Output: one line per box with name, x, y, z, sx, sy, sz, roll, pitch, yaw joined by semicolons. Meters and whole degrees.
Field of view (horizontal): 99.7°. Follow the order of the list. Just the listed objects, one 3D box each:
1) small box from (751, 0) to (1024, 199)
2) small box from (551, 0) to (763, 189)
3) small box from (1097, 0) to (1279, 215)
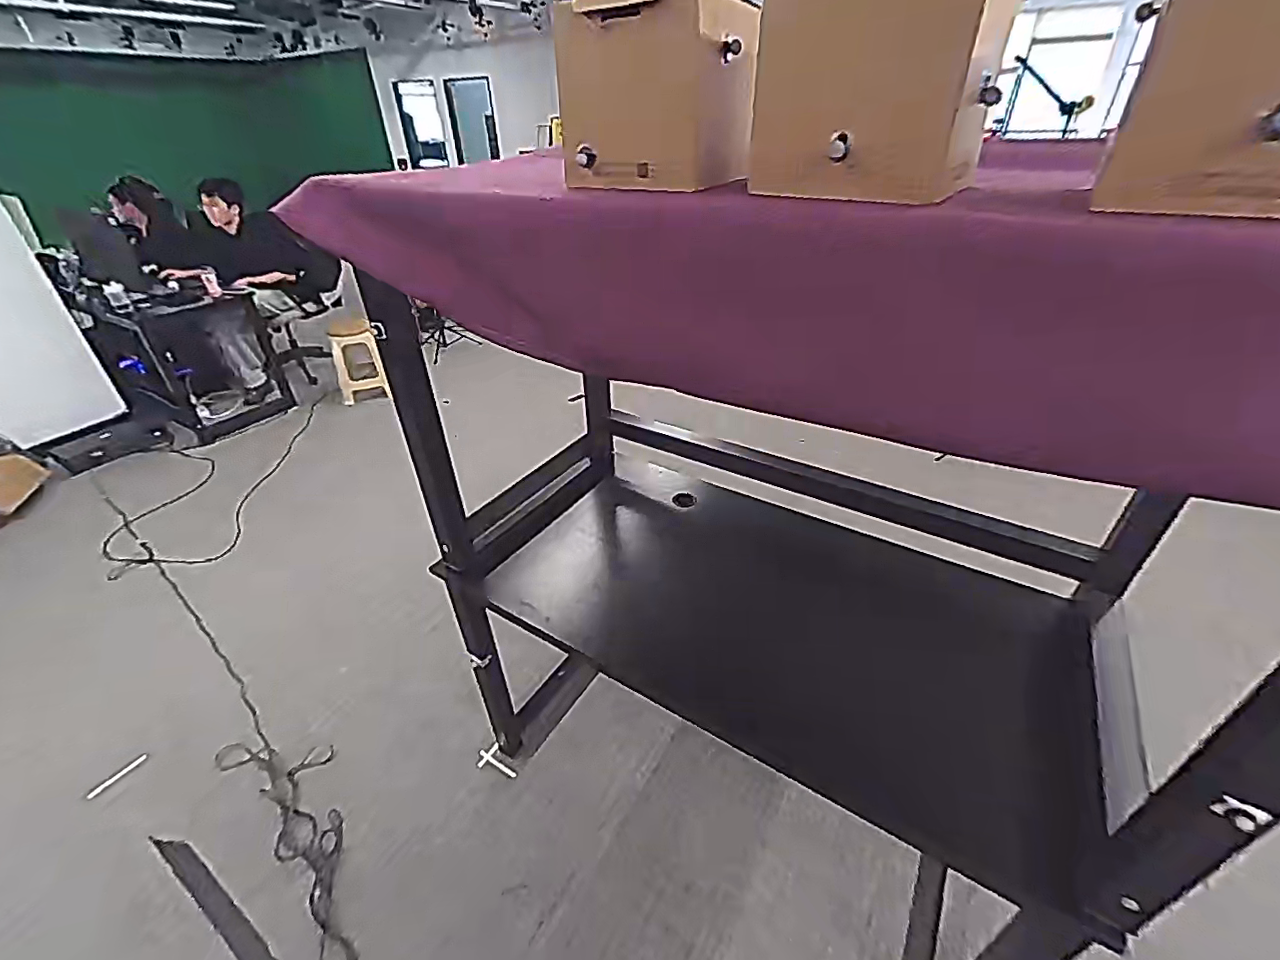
small box;0.219;-0.359;0.493;0.179;0.176;0.168;22;40;30
small box;0.026;-0.427;0.603;0.168;0.176;0.179;16;37;25
small box;0.448;-0.285;0.370;0.168;0.176;0.179;20;39;30
